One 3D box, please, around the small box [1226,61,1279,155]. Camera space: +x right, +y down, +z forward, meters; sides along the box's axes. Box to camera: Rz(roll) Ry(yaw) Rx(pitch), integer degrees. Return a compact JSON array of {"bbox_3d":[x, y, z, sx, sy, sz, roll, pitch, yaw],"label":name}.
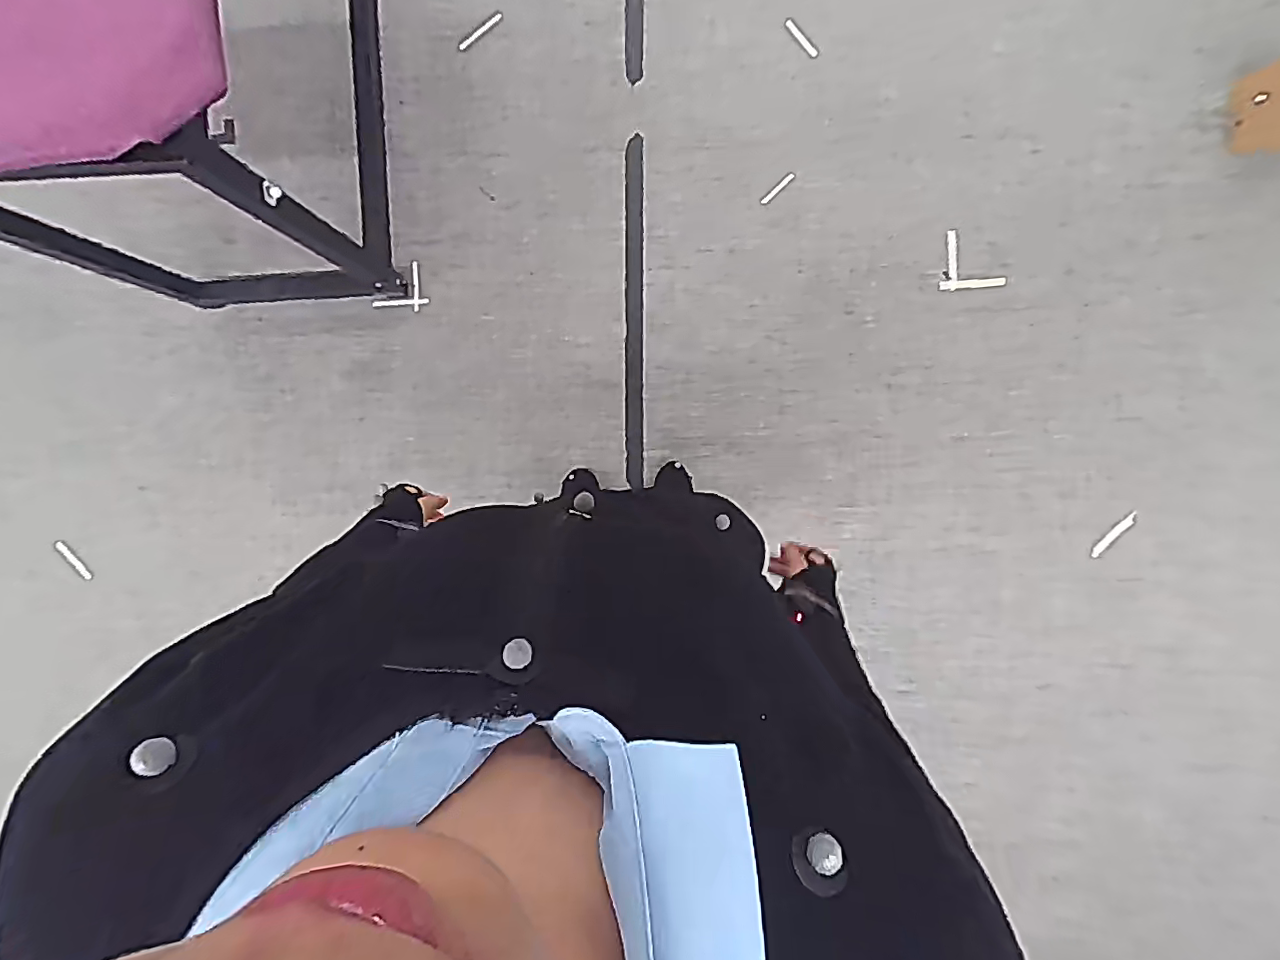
[{"bbox_3d":[1.637,-0.940,1.351,0.179,0.176,0.168,2,93,1],"label":"small box"}]
